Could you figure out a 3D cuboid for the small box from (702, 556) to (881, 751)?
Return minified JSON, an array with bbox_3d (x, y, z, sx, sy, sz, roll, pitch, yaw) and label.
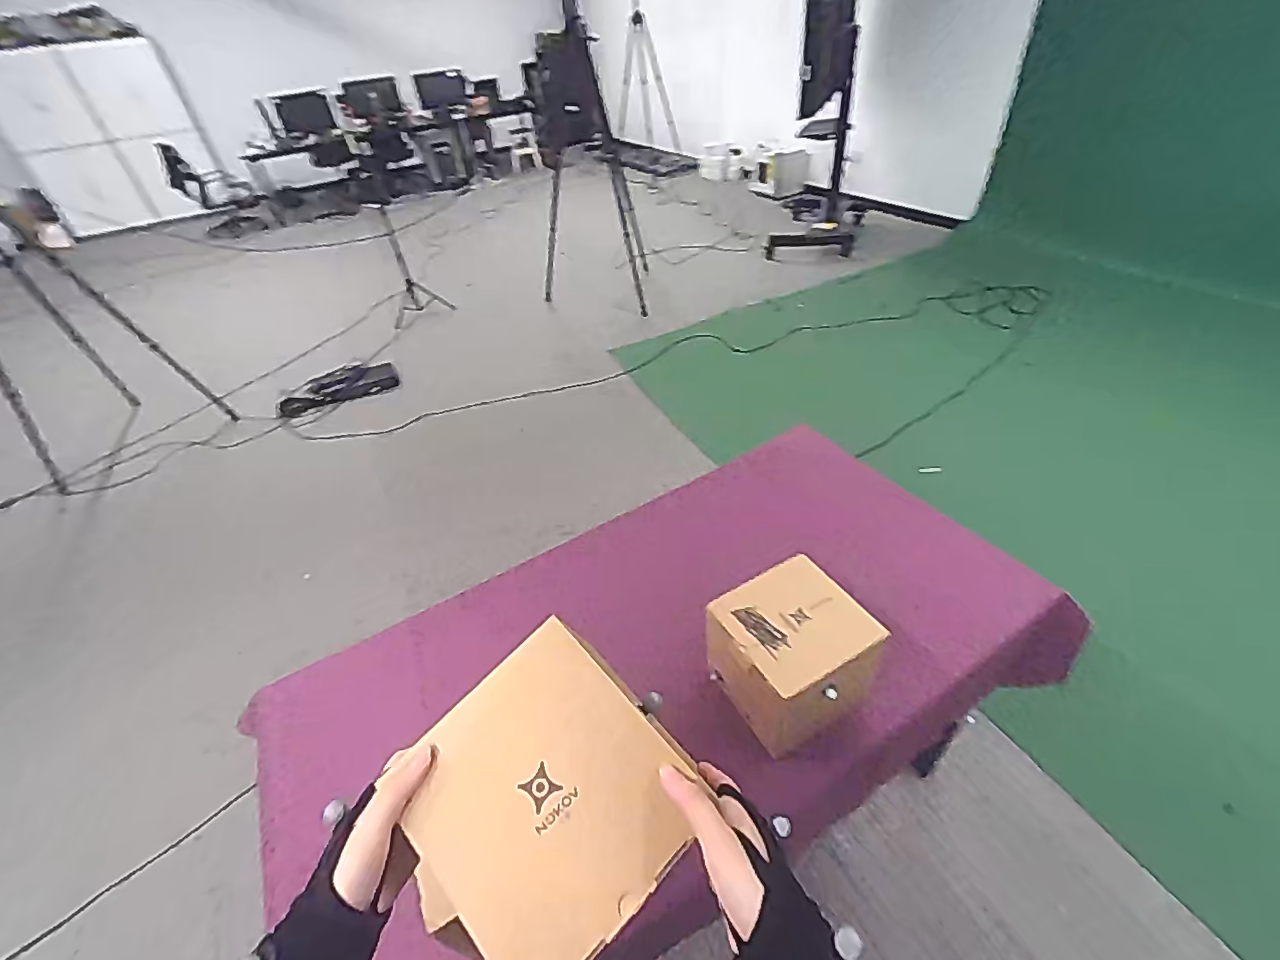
[{"bbox_3d":[0.207,0.248,0.773,0.179,0.176,0.168,-23,43,-18],"label":"small box"}]
